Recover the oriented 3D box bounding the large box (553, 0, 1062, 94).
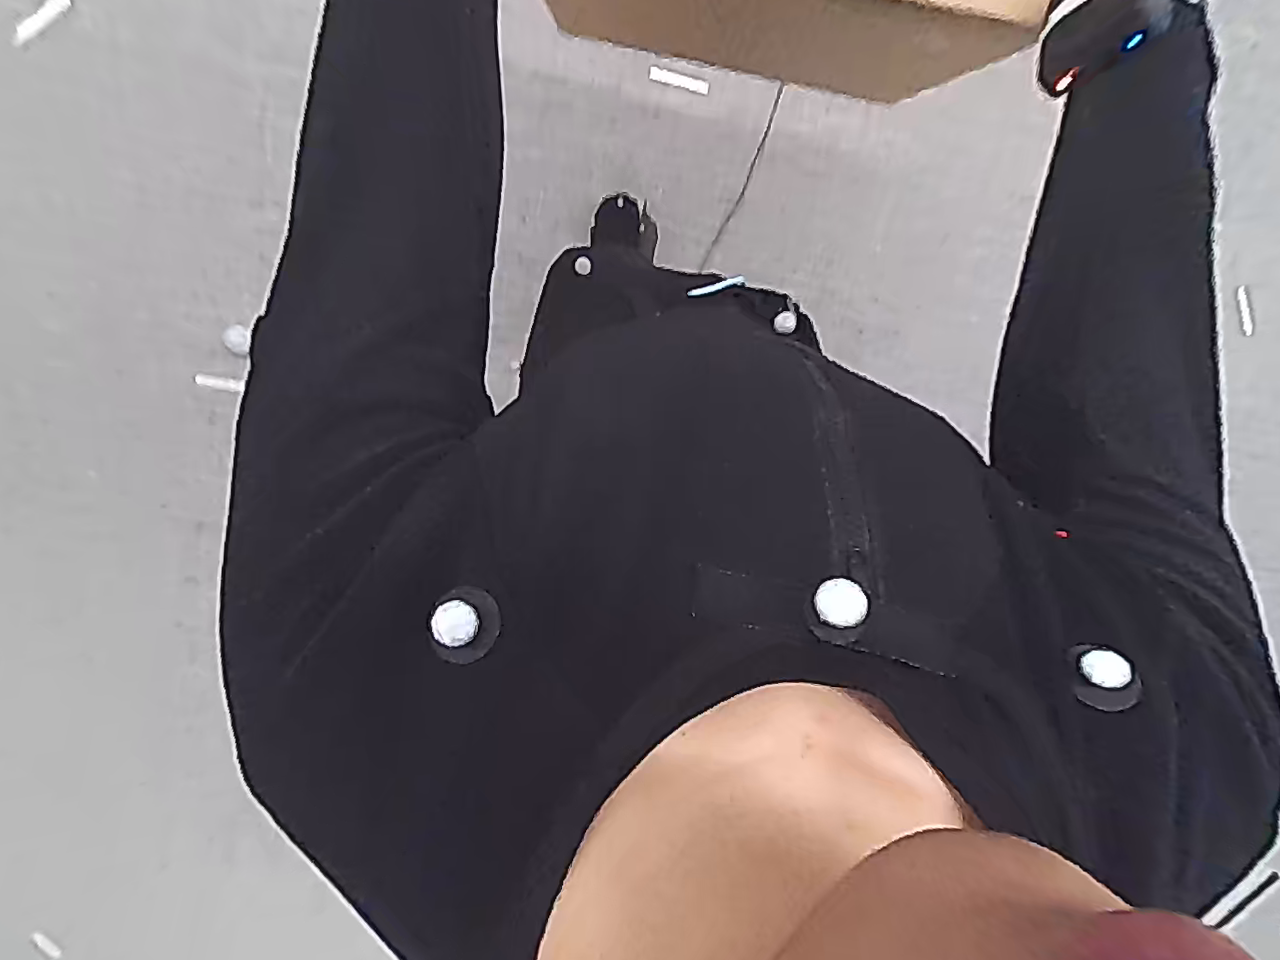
[{"bbox_3d":[0.128,-0.560,0.440,0.408,0.320,0.320,9,118,-5],"label":"large box"}]
